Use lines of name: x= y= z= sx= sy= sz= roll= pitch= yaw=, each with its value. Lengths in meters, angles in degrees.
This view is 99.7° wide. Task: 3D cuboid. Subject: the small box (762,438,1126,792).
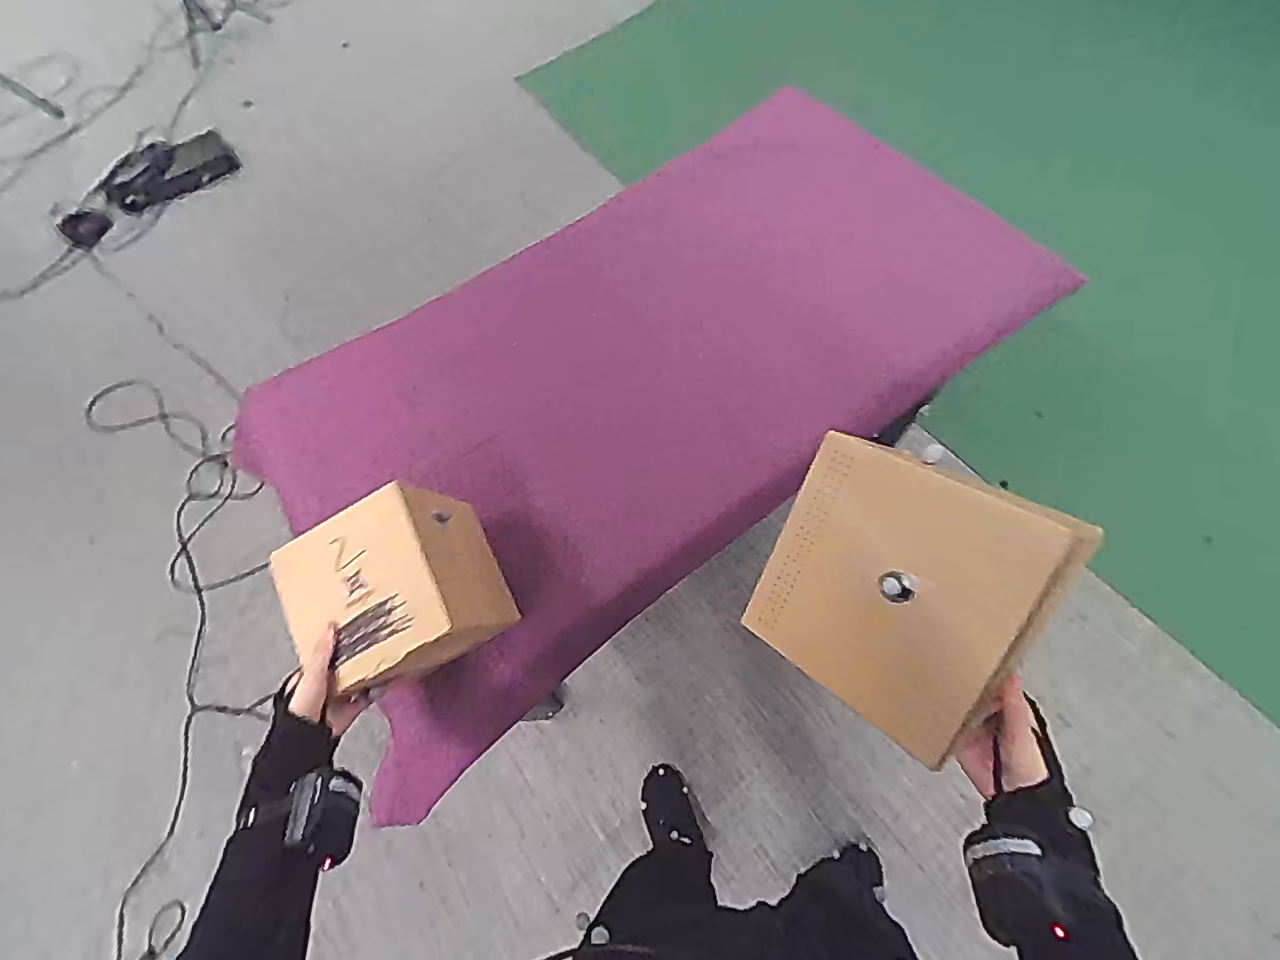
small box: x=0.221 y=0.086 z=0.417 sx=0.176 sy=0.168 sz=0.179 roll=34 pitch=110 yaw=40
